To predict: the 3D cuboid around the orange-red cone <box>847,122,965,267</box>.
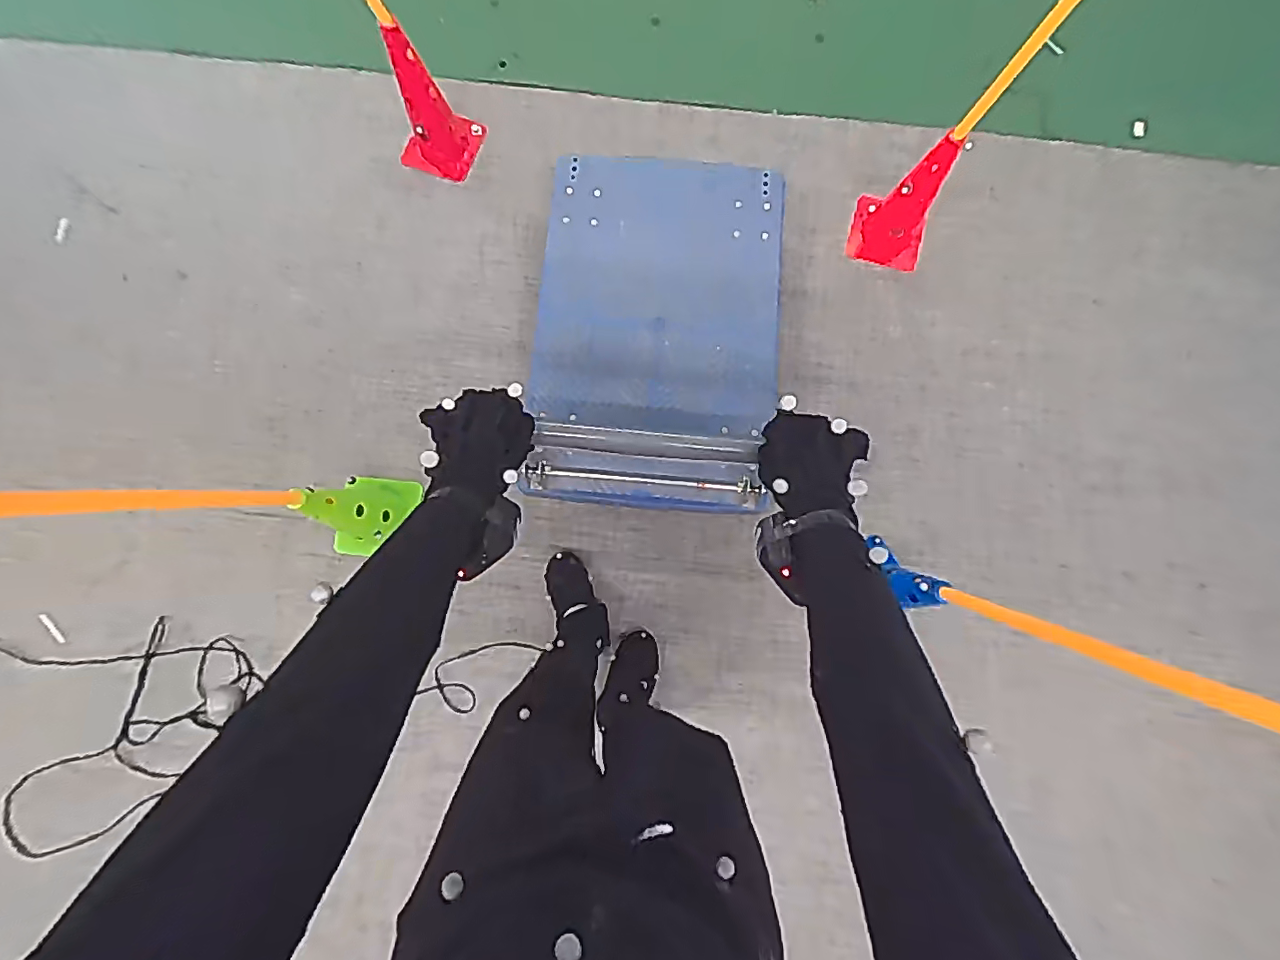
[{"bbox_3d":[0.687,-0.726,1.338,0.198,0.360,0.199,17,82,4],"label":"orange-red cone"}]
